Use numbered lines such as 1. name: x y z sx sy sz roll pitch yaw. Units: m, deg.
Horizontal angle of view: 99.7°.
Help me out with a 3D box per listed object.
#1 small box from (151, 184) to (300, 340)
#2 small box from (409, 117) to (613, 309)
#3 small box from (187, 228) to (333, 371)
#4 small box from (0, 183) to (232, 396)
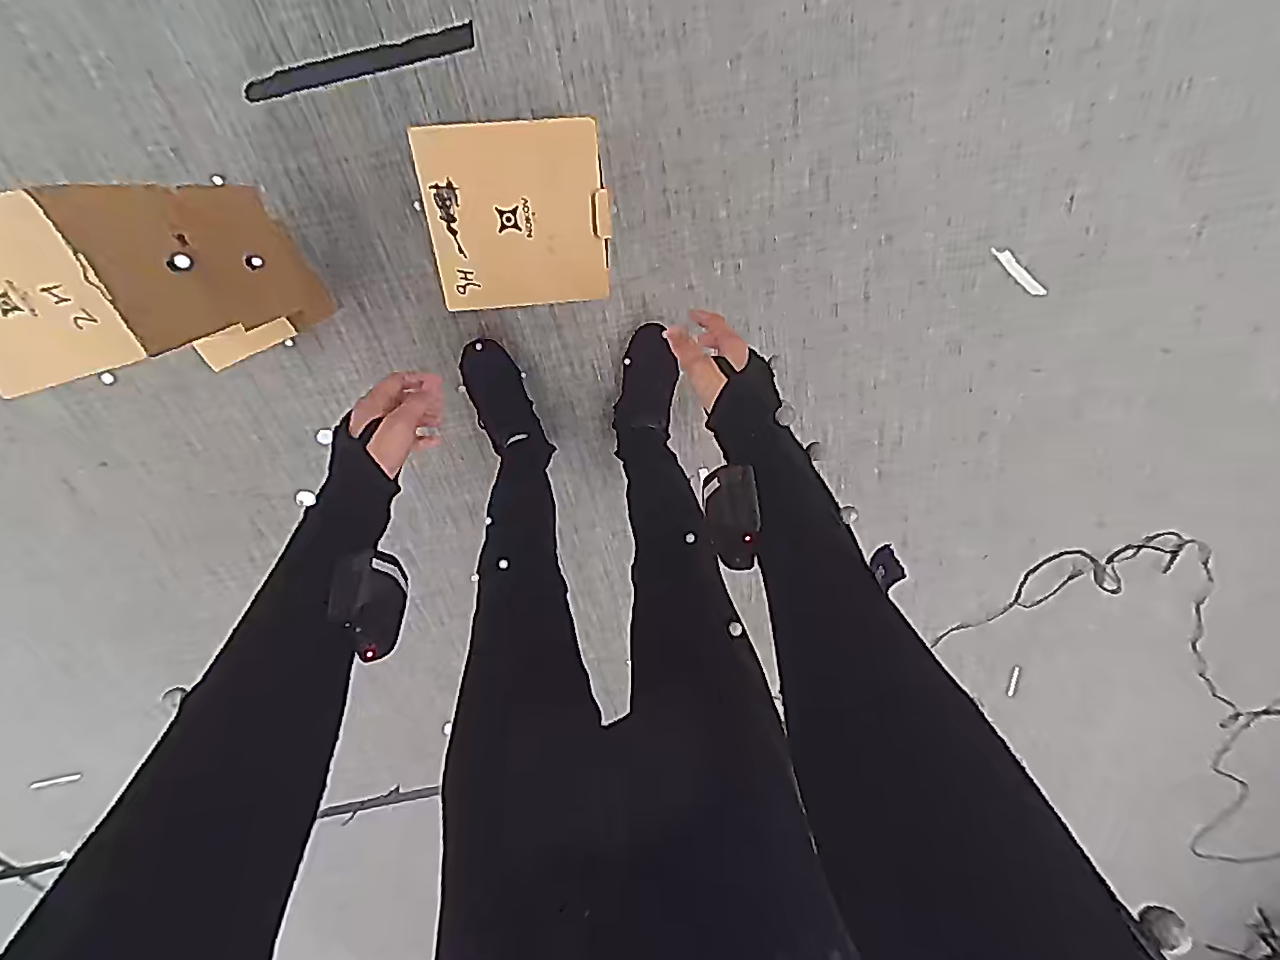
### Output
1. small box: -0.612 -0.295 0.738 0.168 0.176 0.179 -8 120 0
2. small box: -0.128 -0.294 0.596 0.179 0.176 0.168 -6 119 -4
3. small box: -0.666 -0.314 0.910 0.168 0.176 0.179 -21 119 7
4. small box: -0.615 -0.213 0.595 0.179 0.176 0.168 -14 119 4
